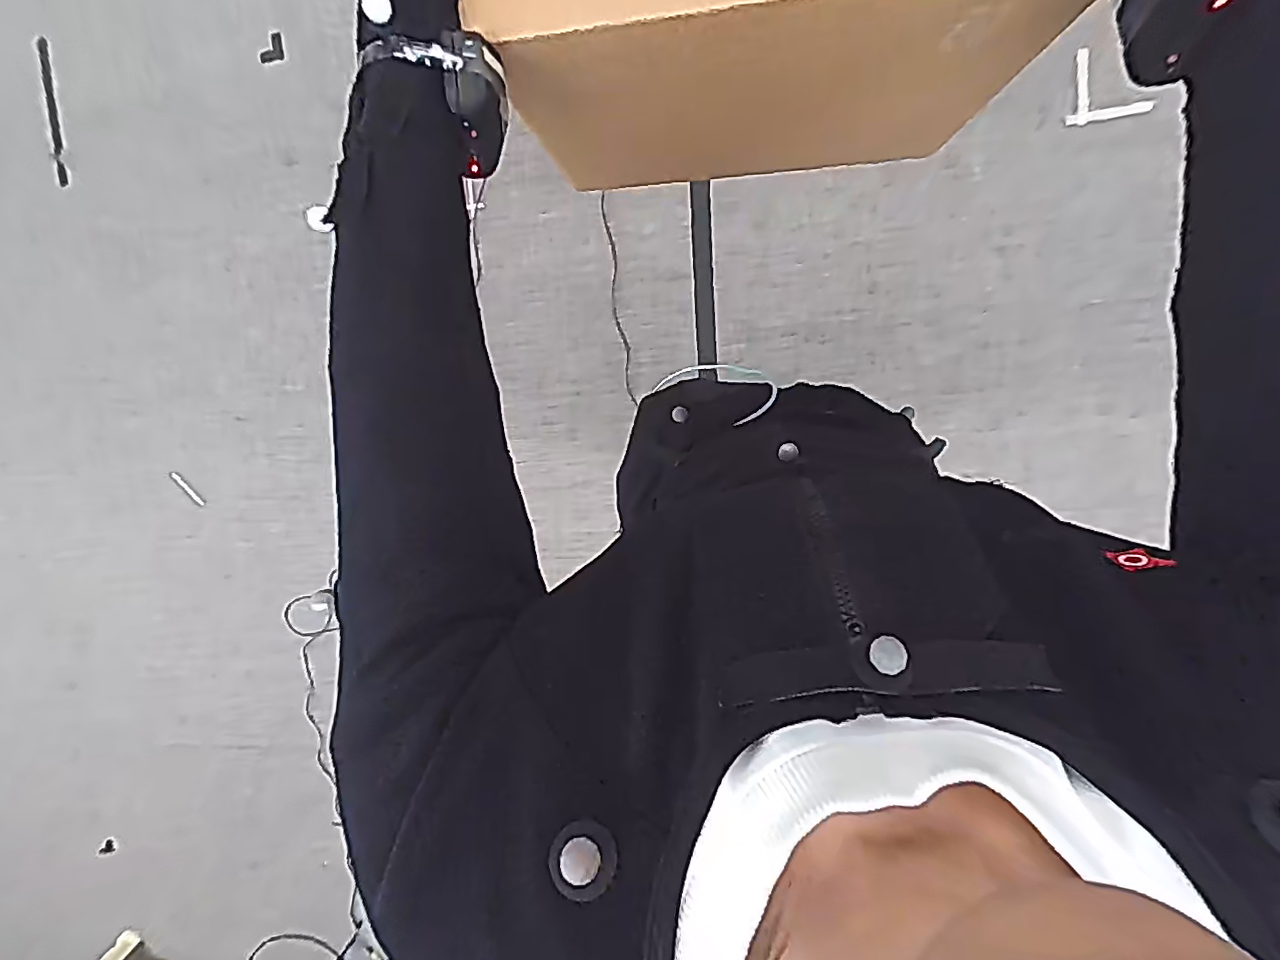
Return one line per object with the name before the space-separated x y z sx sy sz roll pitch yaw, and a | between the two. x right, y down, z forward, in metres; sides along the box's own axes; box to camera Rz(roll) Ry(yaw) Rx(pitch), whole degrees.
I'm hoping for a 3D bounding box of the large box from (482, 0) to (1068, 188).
large box | 0.096 -0.477 0.450 0.408 0.320 0.320 -3 102 7
